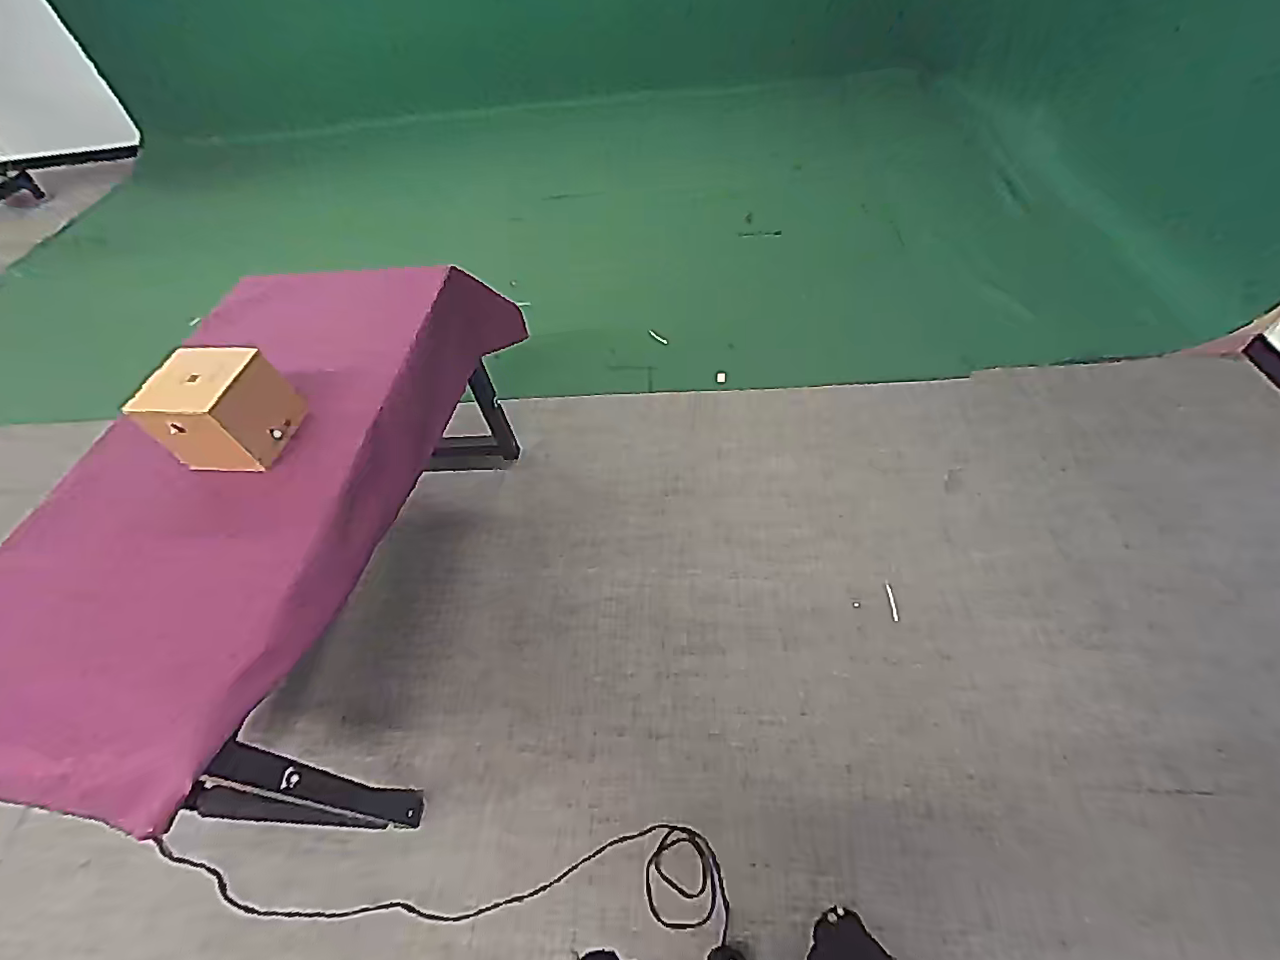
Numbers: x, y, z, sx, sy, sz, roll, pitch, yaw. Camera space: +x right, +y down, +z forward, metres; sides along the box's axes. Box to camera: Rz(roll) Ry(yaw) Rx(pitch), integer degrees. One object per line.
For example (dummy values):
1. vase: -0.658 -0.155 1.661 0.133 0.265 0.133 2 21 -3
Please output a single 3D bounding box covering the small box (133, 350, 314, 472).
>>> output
1. small box: -0.781 -0.130 1.036 0.179 0.176 0.168 3 53 9
